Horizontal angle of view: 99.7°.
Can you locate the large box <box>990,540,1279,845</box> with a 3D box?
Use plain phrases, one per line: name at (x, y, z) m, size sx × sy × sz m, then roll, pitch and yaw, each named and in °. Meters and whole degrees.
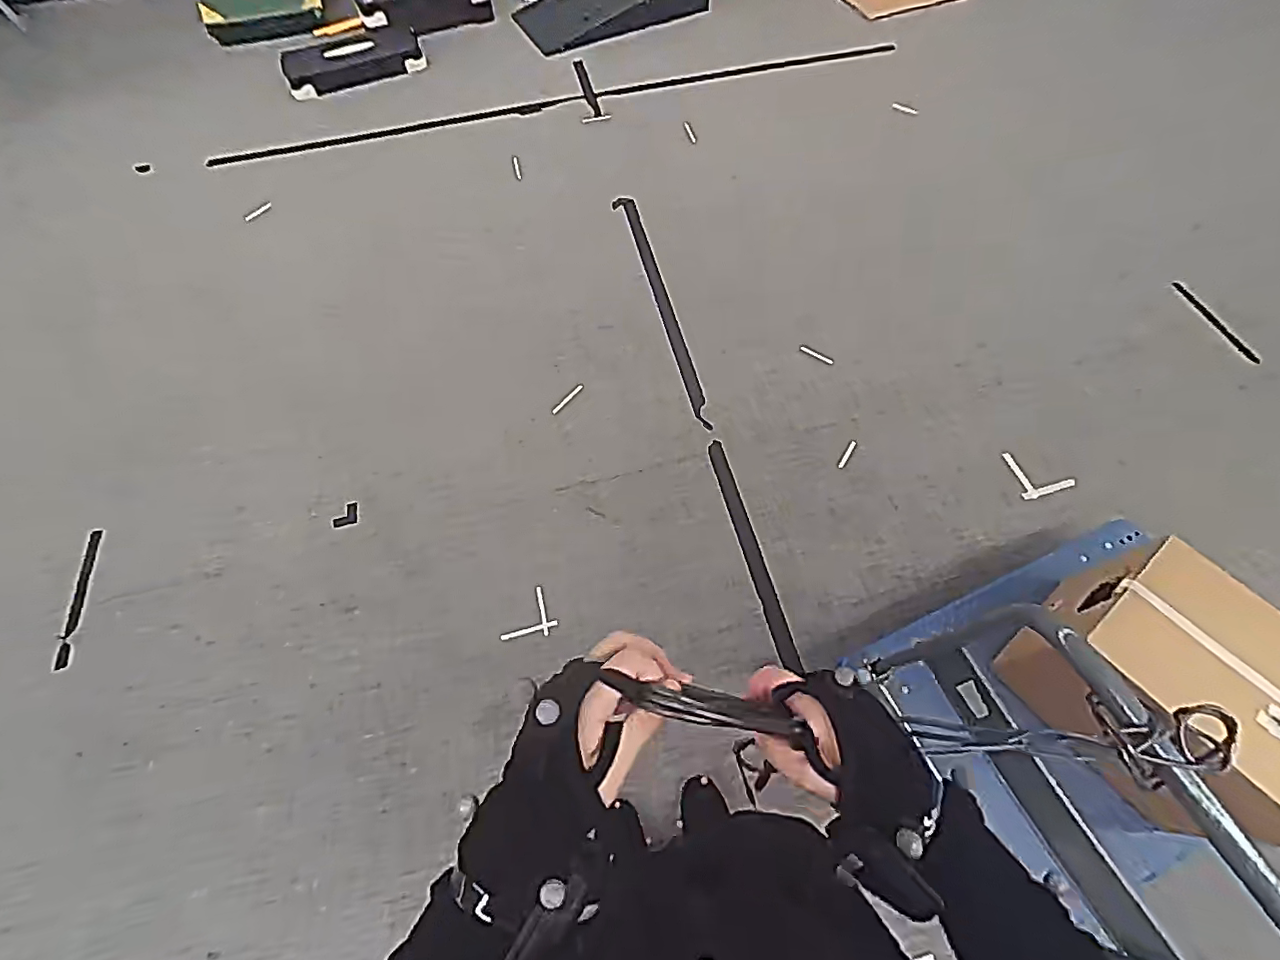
large box at (1.003, 0.396, 1.033) m, size 0.320 × 0.320 × 0.408 m, roll -37°, pitch 68°, yaw -16°
